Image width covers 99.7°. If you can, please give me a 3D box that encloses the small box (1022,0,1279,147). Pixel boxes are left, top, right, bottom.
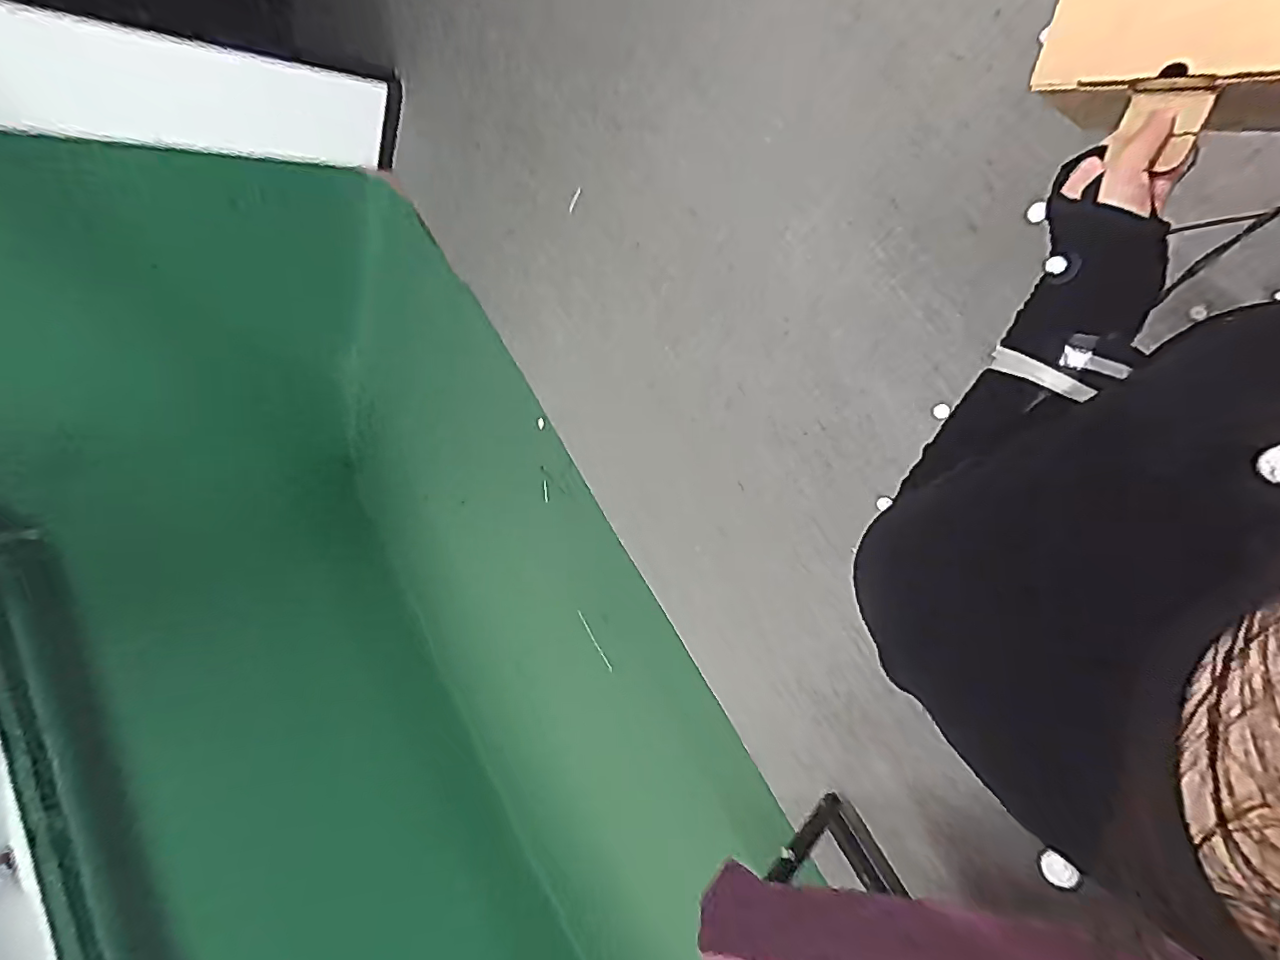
[{"bbox_3d":[0.413,-0.349,0.377,0.168,0.176,0.179,31,125,41],"label":"small box"}]
